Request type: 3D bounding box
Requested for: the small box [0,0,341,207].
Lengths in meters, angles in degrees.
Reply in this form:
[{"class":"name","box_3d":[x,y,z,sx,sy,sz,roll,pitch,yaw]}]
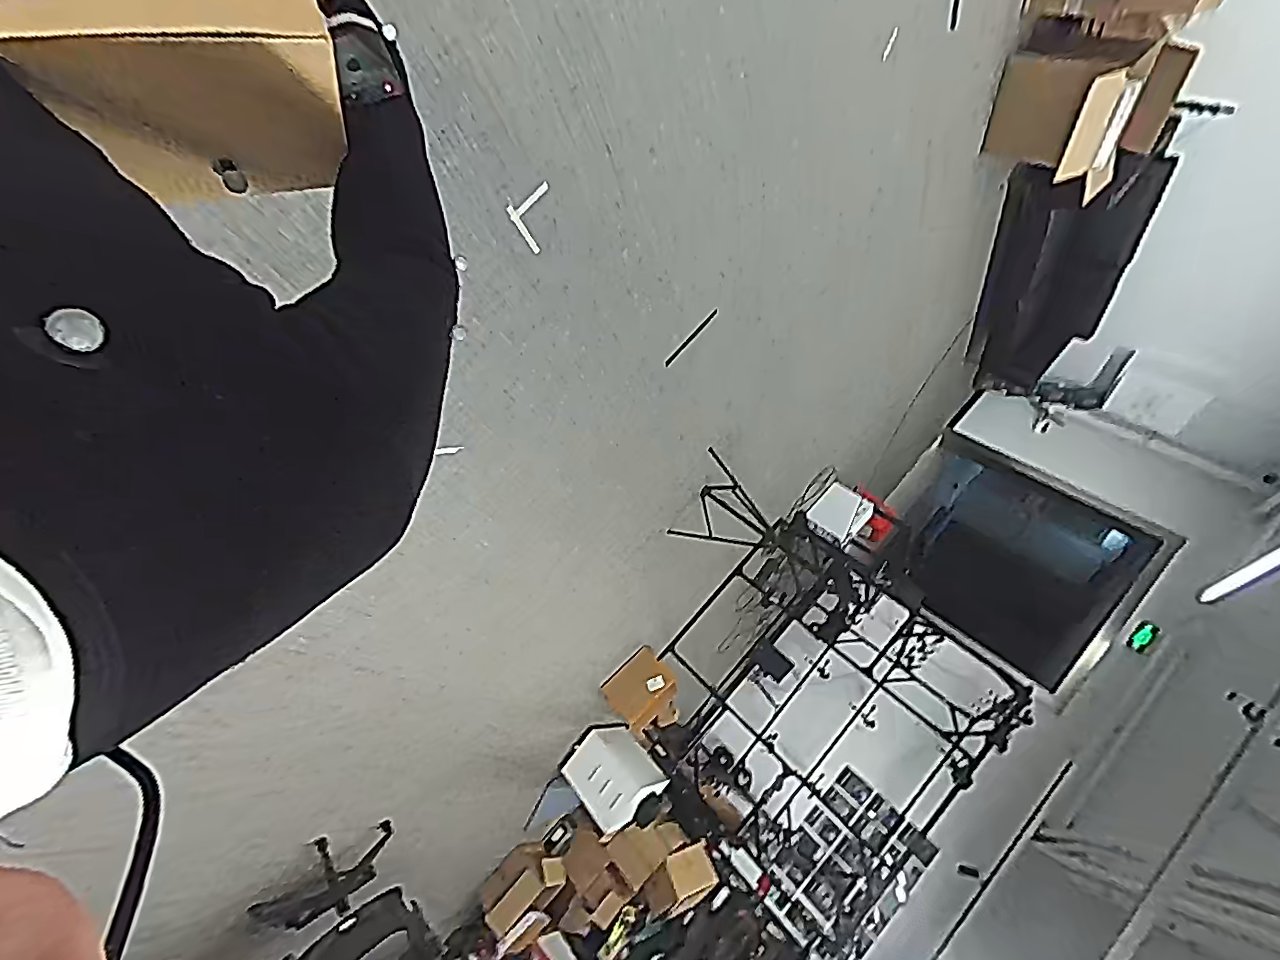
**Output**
[{"class":"small box","box_3d":[-0.329,-0.321,0.382,0.179,0.176,0.168,-21,94,-24]}]
